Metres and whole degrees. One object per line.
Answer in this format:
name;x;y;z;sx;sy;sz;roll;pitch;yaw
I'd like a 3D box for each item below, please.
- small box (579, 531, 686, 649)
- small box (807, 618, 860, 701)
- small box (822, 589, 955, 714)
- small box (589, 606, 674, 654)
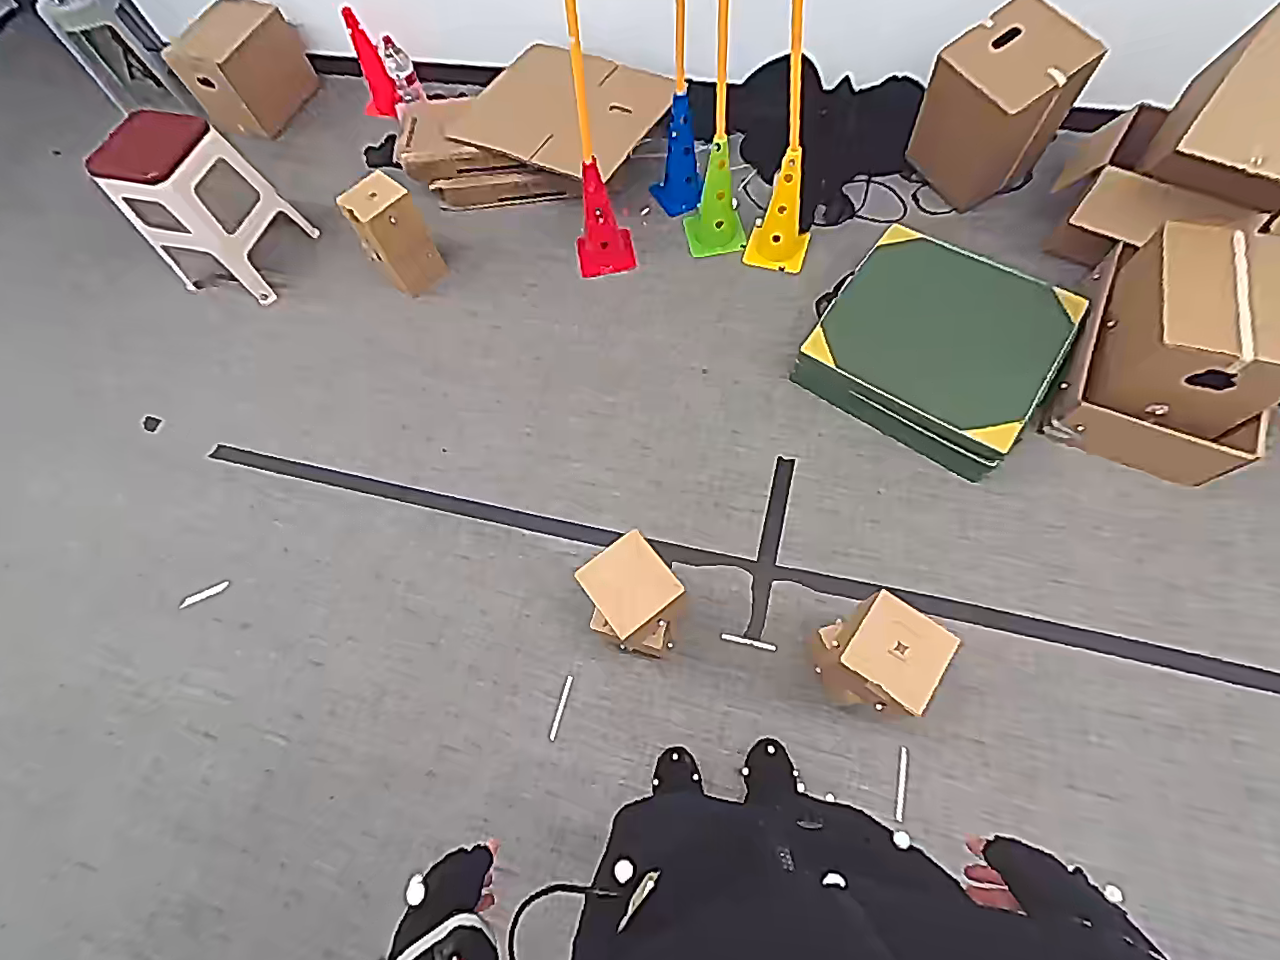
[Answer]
small box;-0.016;0.244;1.198;0.168;0.176;0.179;-37;67;-12
small box;0.506;0.411;1.264;0.179;0.176;0.168;-16;67;-2
small box;0.496;0.356;1.110;0.168;0.176;0.179;35;73;16
small box;-0.006;0.324;1.345;0.179;0.176;0.168;14;67;12
